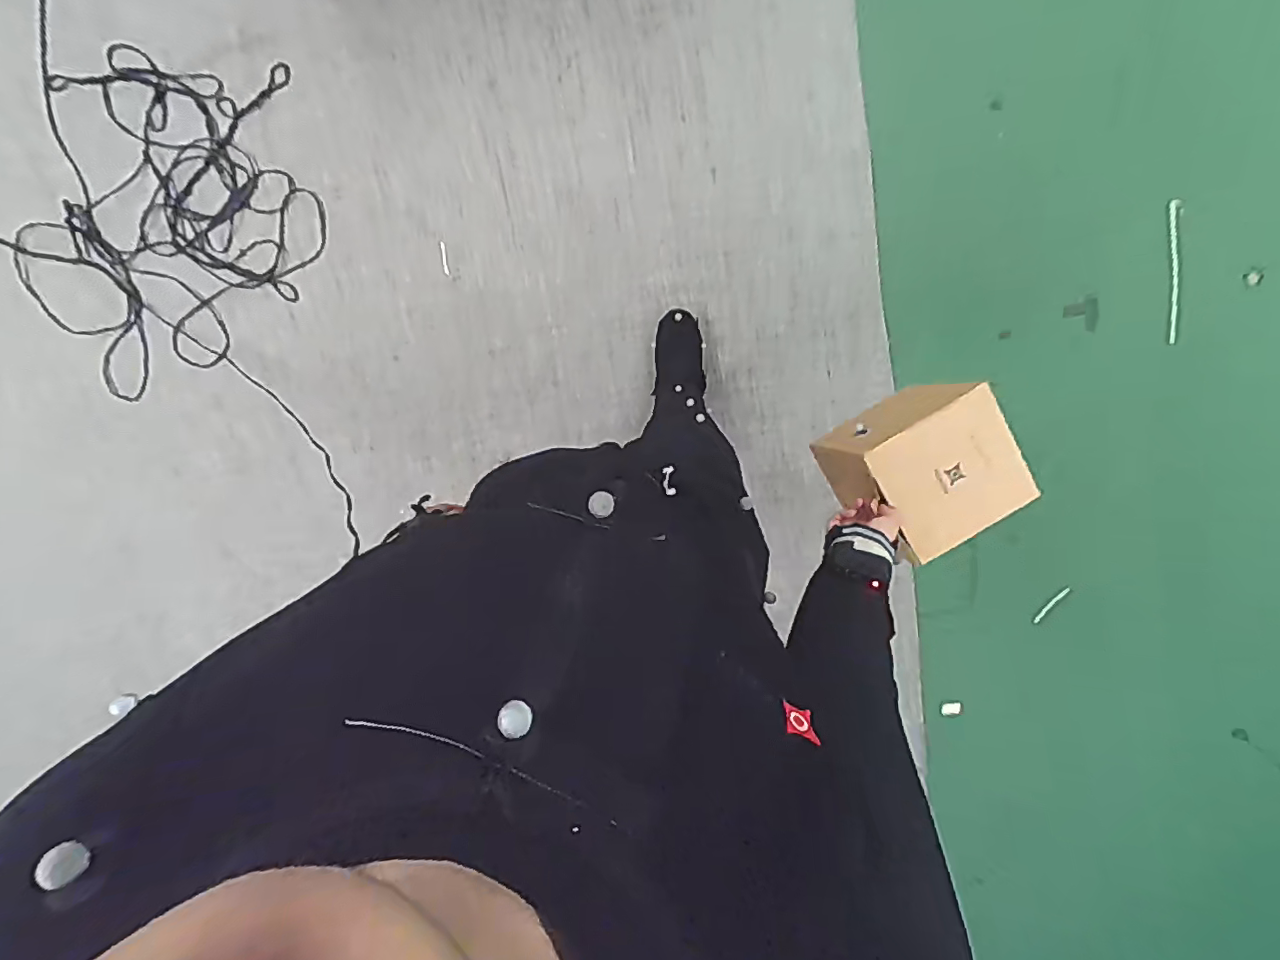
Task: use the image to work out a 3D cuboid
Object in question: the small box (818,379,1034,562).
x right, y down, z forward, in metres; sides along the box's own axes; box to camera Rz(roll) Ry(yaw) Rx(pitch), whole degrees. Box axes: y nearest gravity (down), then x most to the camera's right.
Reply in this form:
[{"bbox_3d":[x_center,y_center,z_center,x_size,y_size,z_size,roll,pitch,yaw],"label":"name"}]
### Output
[{"bbox_3d":[0.369,-0.019,0.738,0.179,0.176,0.168,-33,100,-1],"label":"small box"}]
